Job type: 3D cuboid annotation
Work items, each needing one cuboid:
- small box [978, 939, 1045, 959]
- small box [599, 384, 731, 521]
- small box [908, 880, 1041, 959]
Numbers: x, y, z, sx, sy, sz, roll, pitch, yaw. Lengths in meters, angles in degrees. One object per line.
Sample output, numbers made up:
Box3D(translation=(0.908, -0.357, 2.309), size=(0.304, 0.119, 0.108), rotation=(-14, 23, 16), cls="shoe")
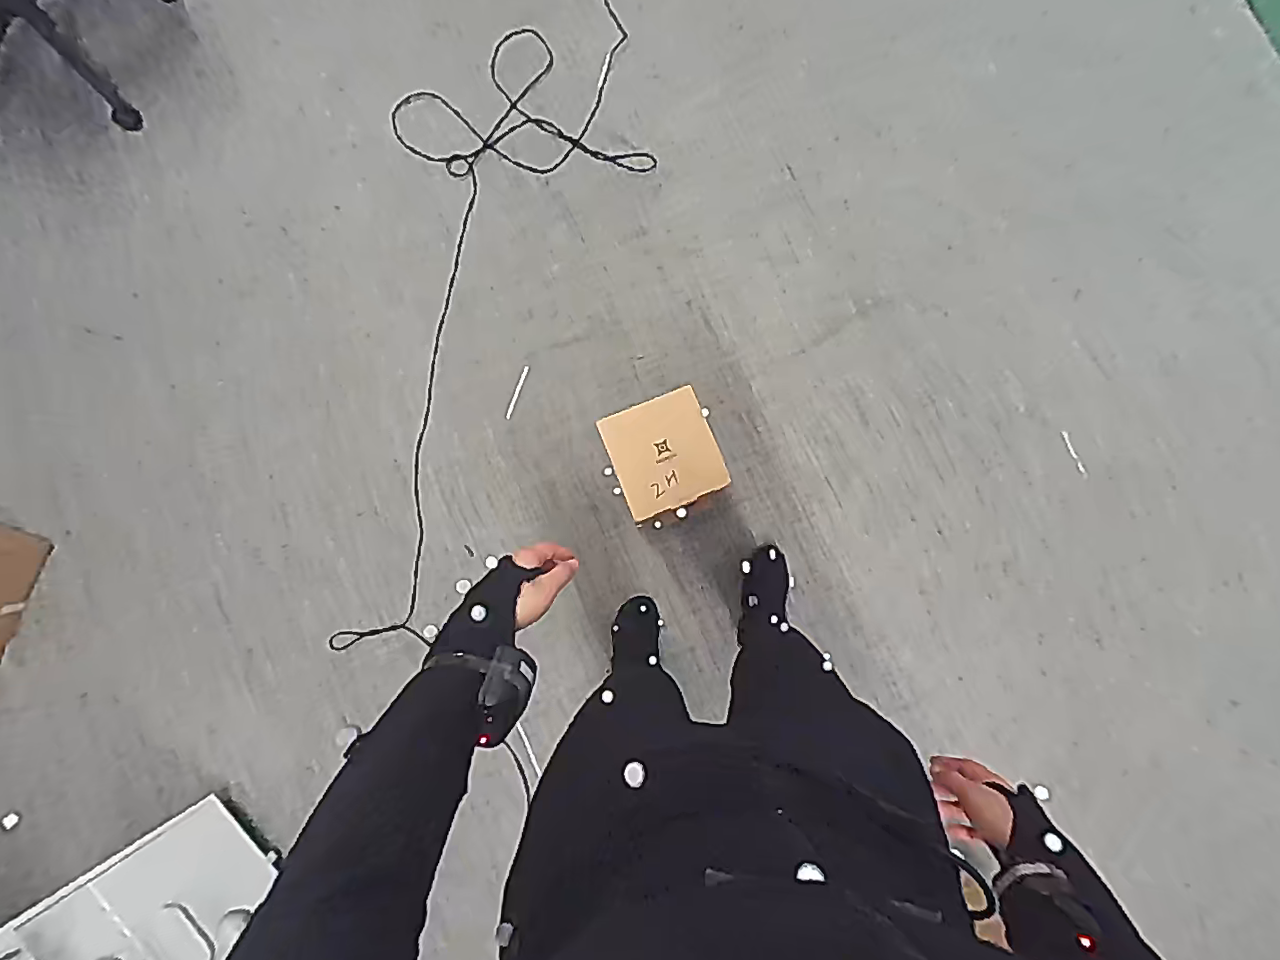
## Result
Box3D(translation=(0.646, 0.908, 0.864), size=(0.168, 0.176, 0.179), rotation=(-25, 87, -3), cls="small box")
Box3D(translation=(0.038, -0.037, 0.929), size=(0.168, 0.176, 0.179), rotation=(-21, 85, -2), cls="small box")
Box3D(translation=(0.653, 0.924, 1.028), size=(0.168, 0.176, 0.179), rotation=(-25, 85, -3), cls="small box")
